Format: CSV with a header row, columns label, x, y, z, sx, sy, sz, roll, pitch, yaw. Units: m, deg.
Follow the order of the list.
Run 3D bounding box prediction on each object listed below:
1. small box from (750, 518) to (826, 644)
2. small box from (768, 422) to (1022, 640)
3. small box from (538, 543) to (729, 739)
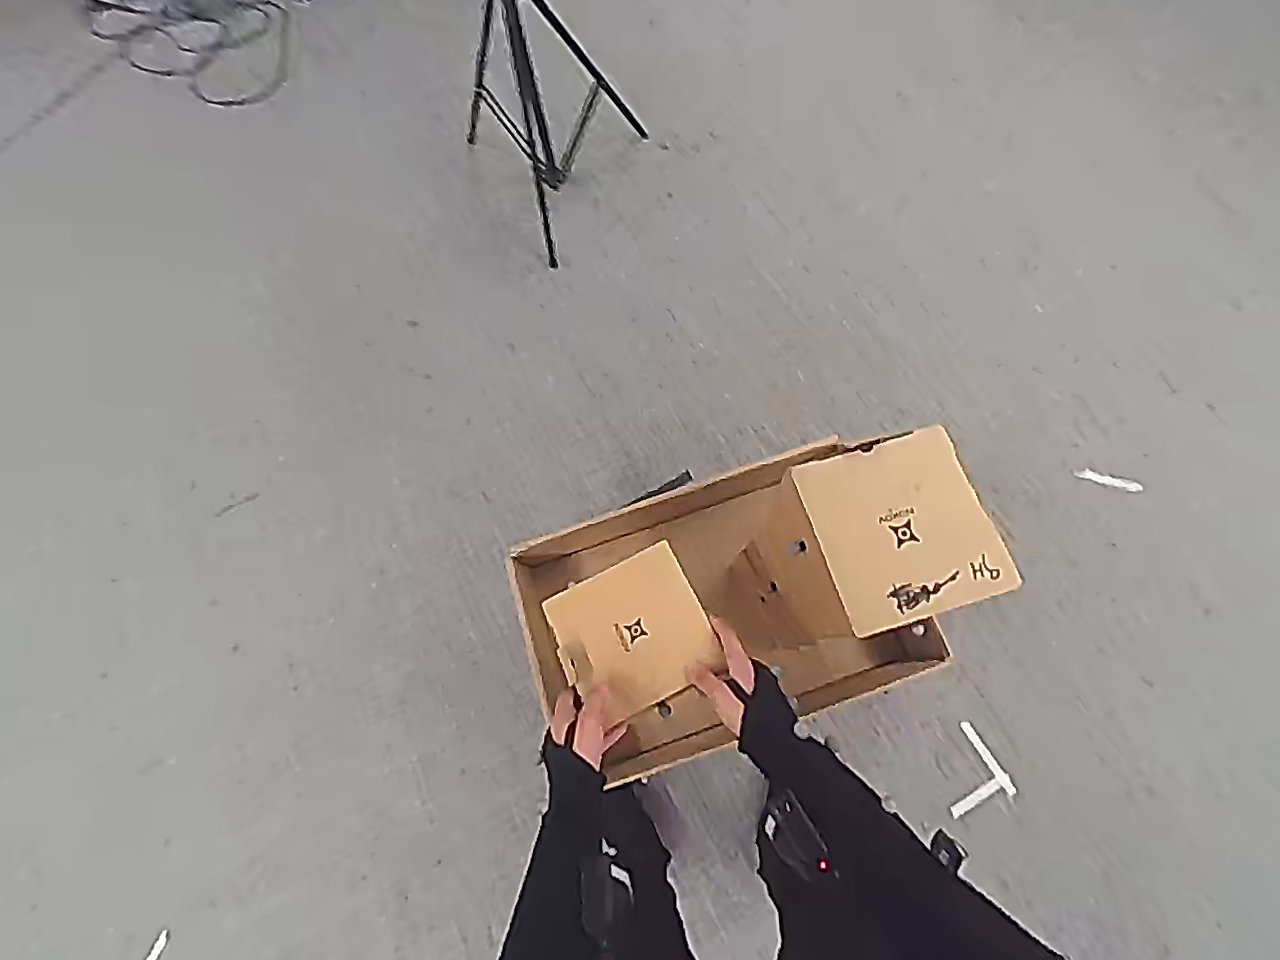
label,x,y,z,sx,sy,sz,roll,pitch,yaw
small box,0.263,0.119,0.745,0.179,0.176,0.168,-22,73,-3
small box,0.252,0.066,0.590,0.168,0.176,0.179,-17,71,0
small box,-0.003,0.205,0.695,0.179,0.176,0.168,-27,68,-2
